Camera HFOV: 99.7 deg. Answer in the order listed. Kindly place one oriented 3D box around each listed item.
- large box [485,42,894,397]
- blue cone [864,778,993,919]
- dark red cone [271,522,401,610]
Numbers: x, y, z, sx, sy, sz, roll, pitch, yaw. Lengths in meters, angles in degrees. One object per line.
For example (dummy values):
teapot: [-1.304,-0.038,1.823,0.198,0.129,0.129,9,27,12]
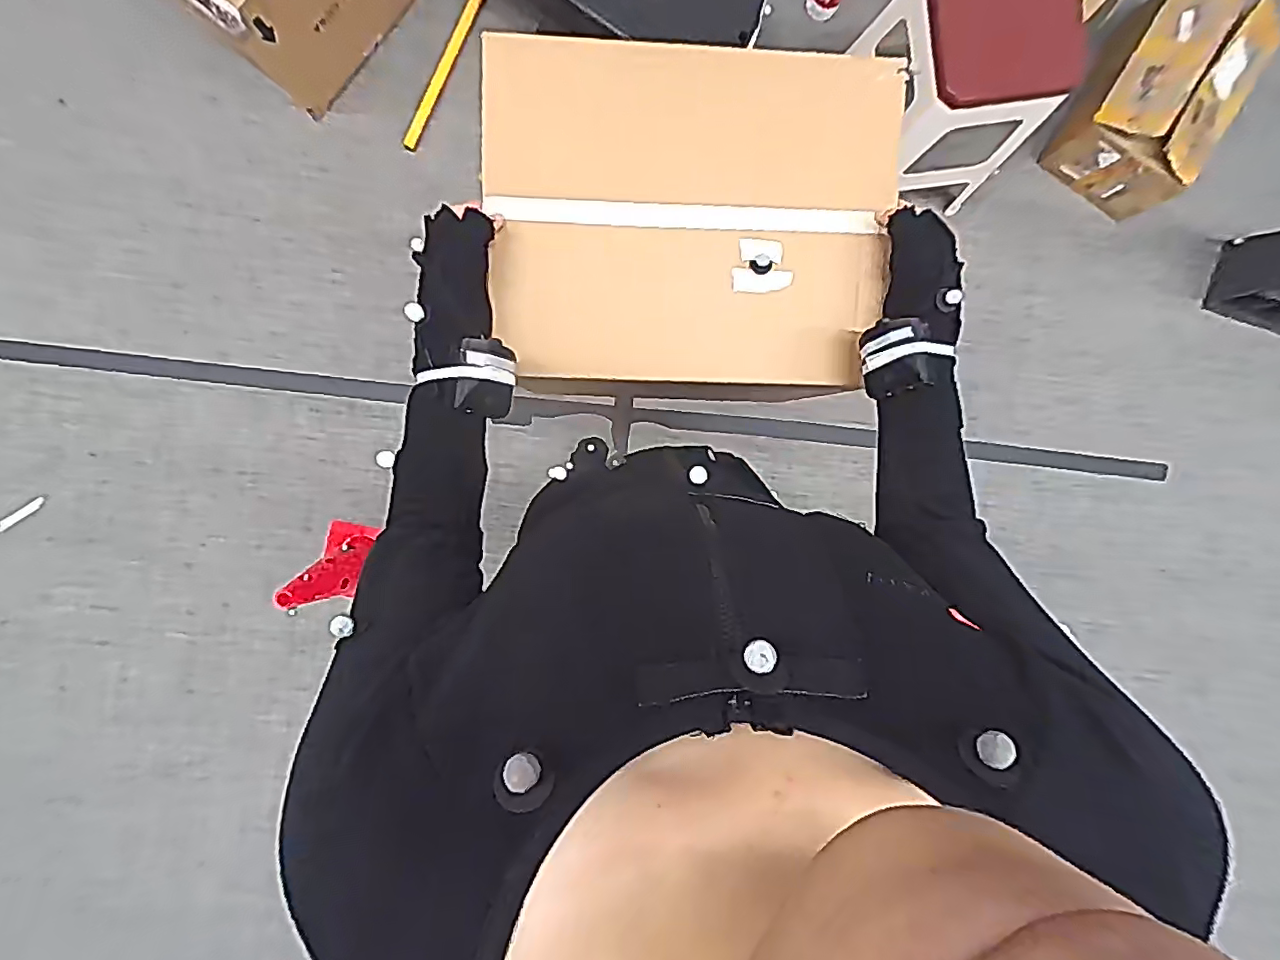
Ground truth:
large box: [0.041,-0.271,0.678,0.408,0.320,0.320,1,95,-3]
blue cone: [0.764,0.973,1.413,0.192,0.380,0.193,10,93,-5]
dark red cone: [-0.722,0.228,1.249,0.201,0.394,0.202,12,92,-5]
